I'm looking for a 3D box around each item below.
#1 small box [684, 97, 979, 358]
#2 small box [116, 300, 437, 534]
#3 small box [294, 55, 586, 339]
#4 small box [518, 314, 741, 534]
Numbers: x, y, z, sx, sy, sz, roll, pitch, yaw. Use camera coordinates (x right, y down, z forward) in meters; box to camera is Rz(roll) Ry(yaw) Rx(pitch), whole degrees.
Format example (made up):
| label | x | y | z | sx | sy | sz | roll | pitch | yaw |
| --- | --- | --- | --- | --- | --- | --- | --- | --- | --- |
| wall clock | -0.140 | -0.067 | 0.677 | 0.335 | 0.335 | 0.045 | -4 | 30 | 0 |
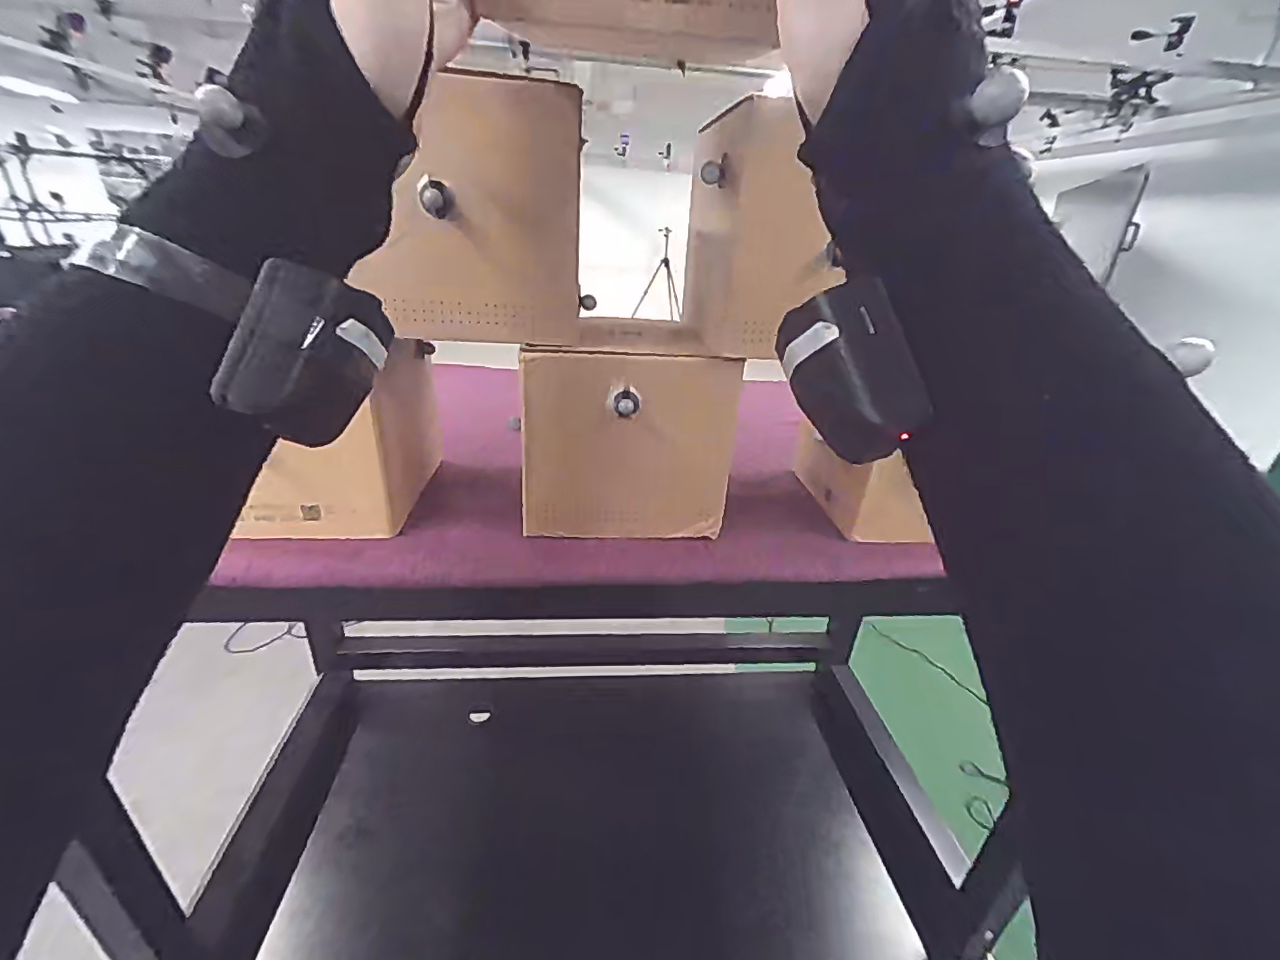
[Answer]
| label | x | y | z | sx | sy | sz | roll | pitch | yaw |
| --- | --- | --- | --- | --- | --- | --- | --- | --- | --- |
| small box | 0.136 | -0.204 | 0.459 | 0.168 | 0.176 | 0.179 | 0 | 25 | -7 |
| small box | -0.288 | -0.062 | 0.483 | 0.168 | 0.176 | 0.179 | 0 | 24 | -7 |
| small box | -0.136 | -0.213 | 0.439 | 0.179 | 0.176 | 0.168 | 0 | 25 | -8 |
| small box | -0.016 | -0.059 | 0.516 | 0.179 | 0.176 | 0.168 | 2 | 25 | -6 |
